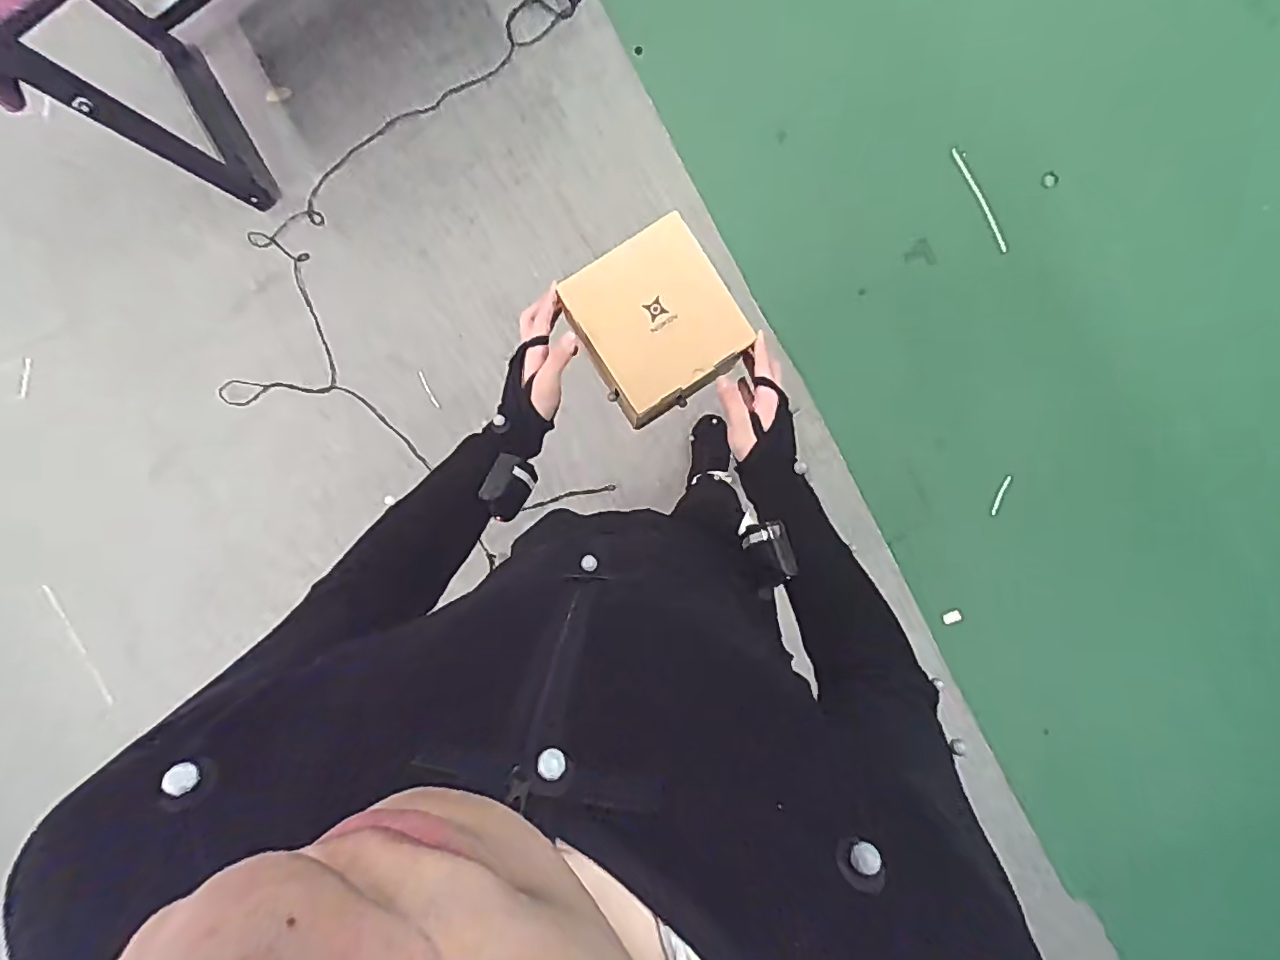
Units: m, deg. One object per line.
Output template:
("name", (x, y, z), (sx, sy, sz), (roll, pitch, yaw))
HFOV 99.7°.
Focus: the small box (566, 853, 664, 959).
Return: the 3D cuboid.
("small box", (-0.050, 0.984, 1.223), (0.168, 0.176, 0.179), (-16, 92, 9))
